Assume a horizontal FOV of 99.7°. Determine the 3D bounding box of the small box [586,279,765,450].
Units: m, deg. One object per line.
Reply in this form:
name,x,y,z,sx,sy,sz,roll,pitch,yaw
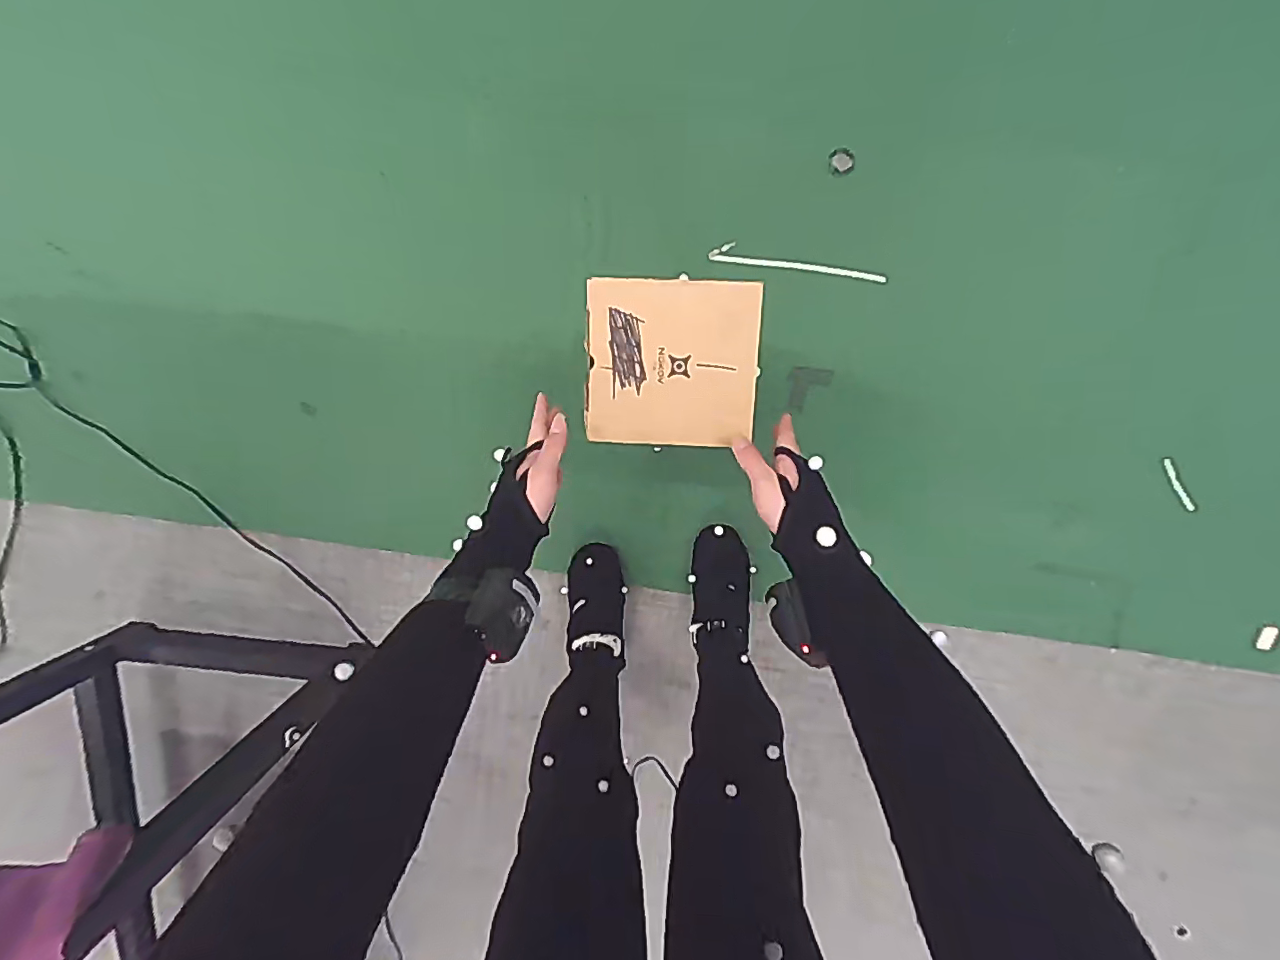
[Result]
small box,0.039,-0.132,0.628,0.179,0.176,0.168,3,103,4
